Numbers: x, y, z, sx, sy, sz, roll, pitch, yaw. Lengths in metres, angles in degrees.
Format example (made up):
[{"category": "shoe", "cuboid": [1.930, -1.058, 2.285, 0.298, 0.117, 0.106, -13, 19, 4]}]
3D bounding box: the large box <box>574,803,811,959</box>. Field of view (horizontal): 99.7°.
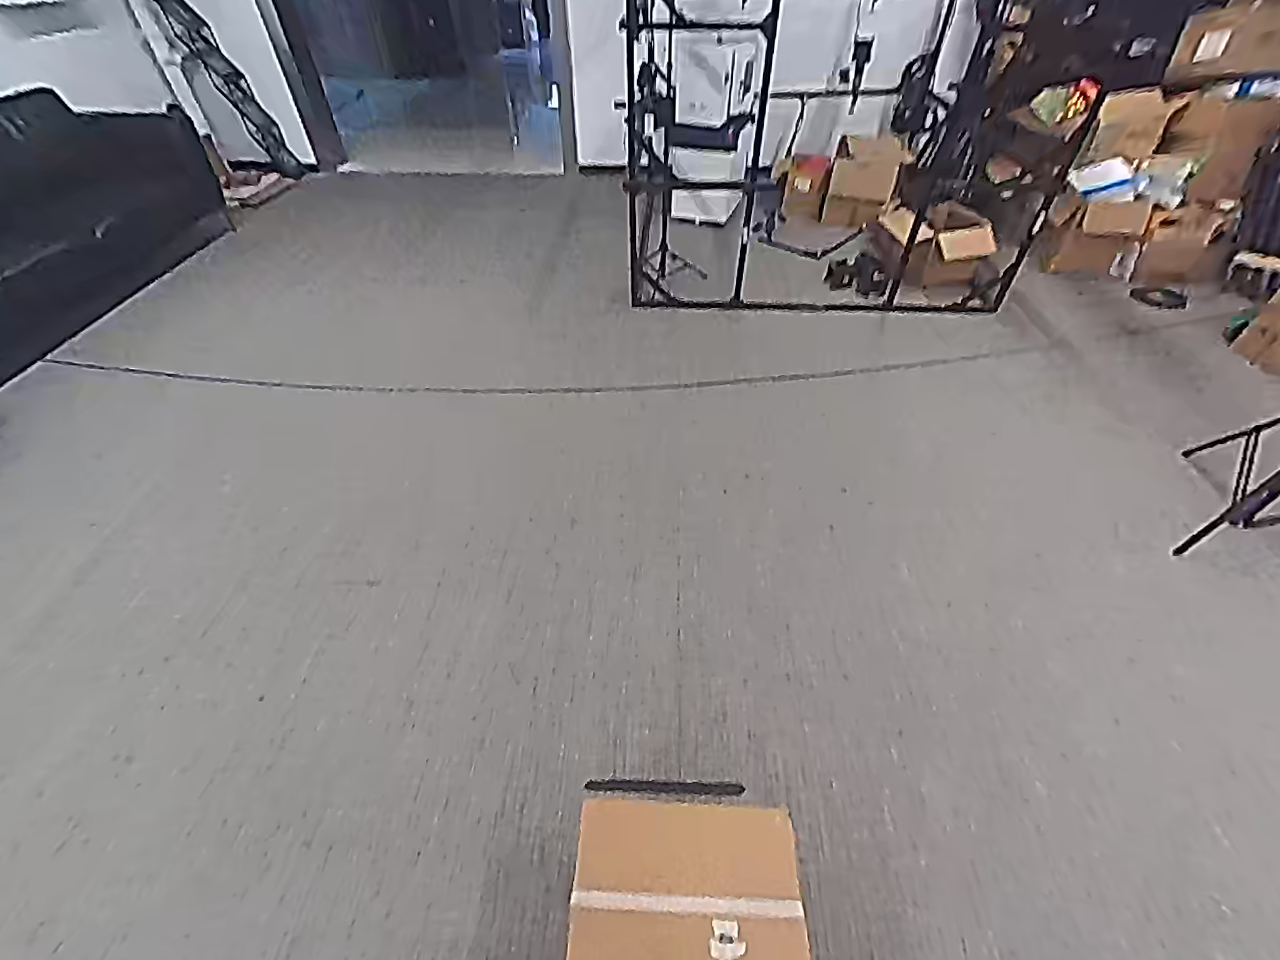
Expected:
[{"category": "large box", "cuboid": [0.088, 0.856, 1.053, 0.408, 0.320, 0.320, 2, 45, 2]}]
